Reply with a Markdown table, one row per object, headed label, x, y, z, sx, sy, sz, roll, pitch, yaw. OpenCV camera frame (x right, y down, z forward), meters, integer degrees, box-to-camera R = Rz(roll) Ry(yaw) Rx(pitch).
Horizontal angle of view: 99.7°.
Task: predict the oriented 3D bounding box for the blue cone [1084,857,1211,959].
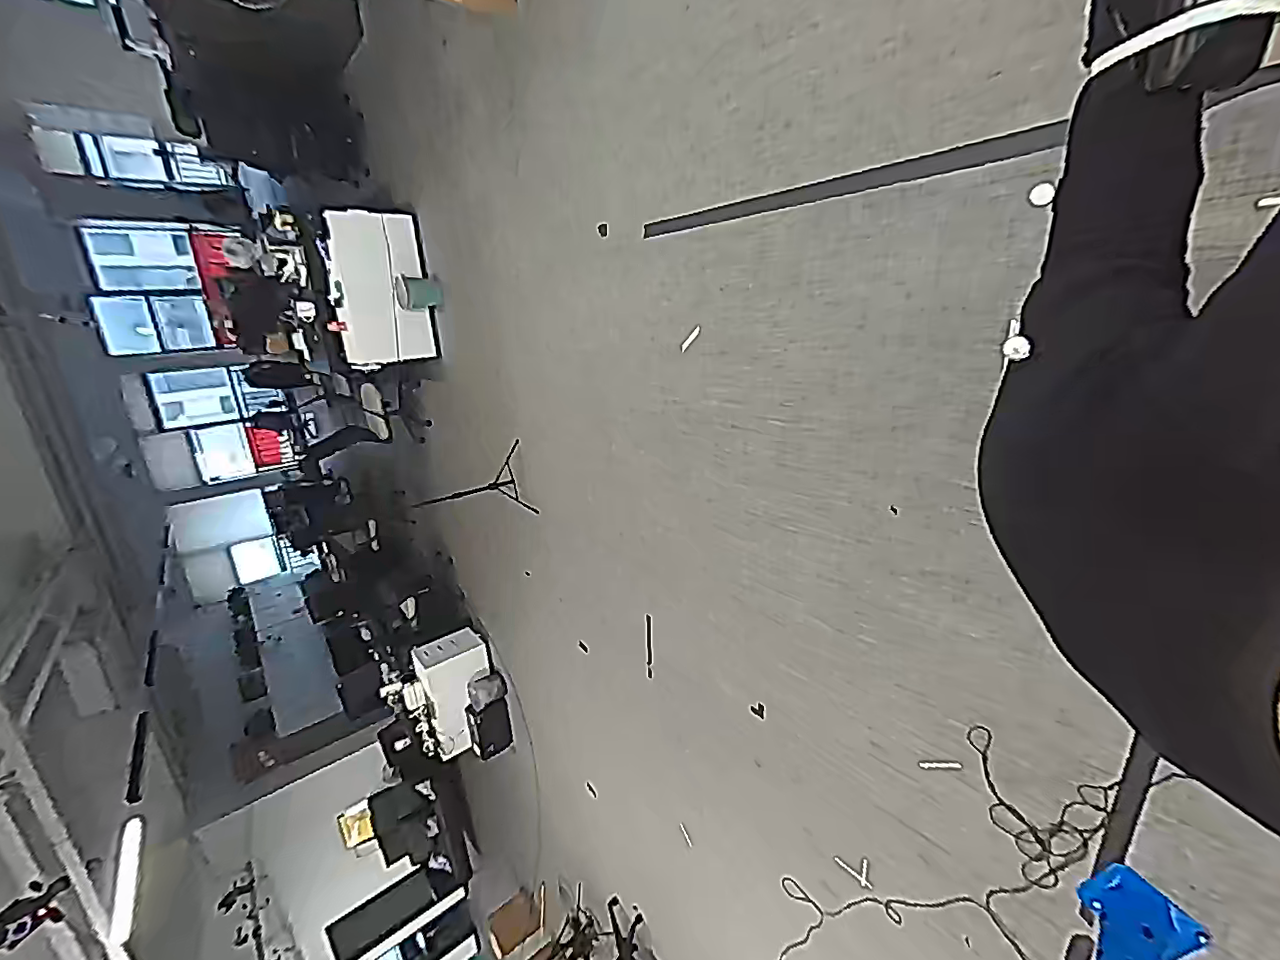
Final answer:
| label | x | y | z | sx | sy | sz | roll | pitch | yaw |
| --- | --- | --- | --- | --- | --- | --- | --- | --- | --- |
| blue cone | 1.132 | 1.102 | 1.257 | 0.193 | 0.380 | 0.192 | 41 | 134 | 36 |
